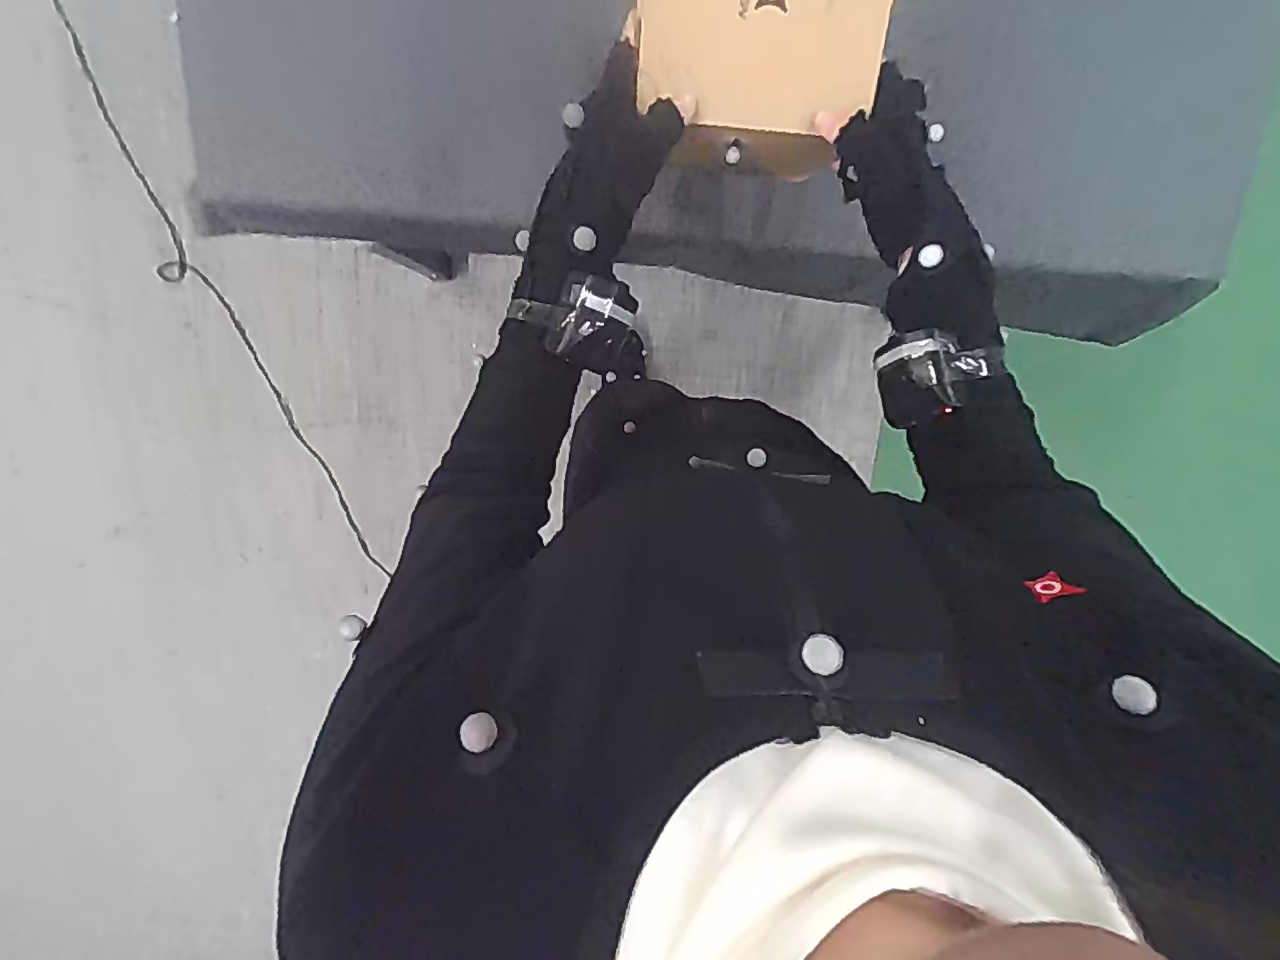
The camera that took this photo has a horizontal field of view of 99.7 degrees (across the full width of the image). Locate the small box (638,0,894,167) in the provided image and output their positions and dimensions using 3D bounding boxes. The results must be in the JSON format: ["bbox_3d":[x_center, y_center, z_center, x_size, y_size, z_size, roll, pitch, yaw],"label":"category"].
[{"bbox_3d":[0.090,-0.370,0.446,0.179,0.176,0.168,3,111,-1],"label":"small box"}]
